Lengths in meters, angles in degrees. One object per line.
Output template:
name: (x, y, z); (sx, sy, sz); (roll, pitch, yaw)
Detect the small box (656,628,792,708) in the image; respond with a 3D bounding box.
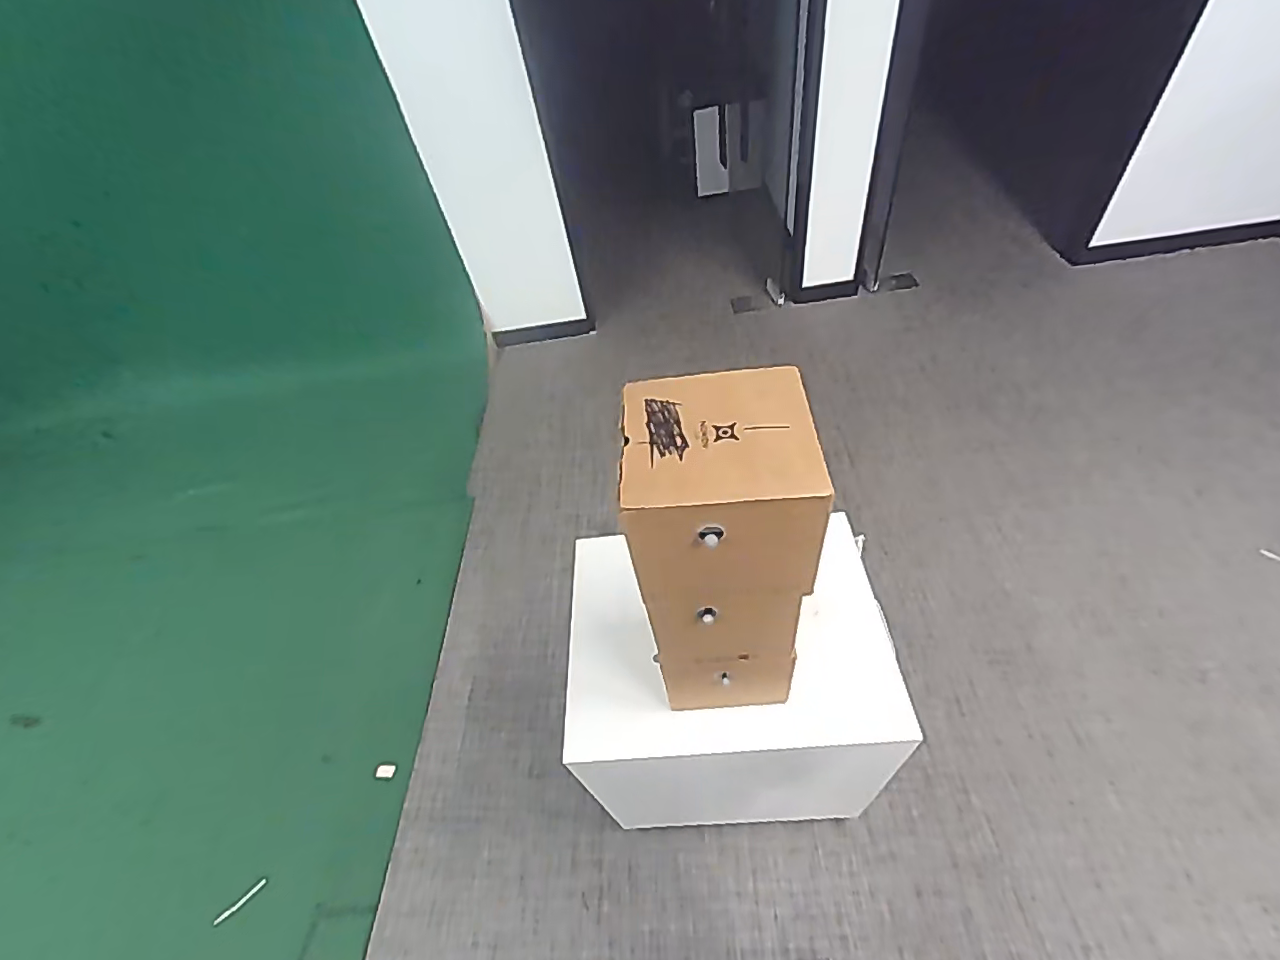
small box: (0.118, 0.227, 0.804); (0.179, 0.176, 0.168); (-6, 49, 4)

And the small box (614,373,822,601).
small box: (0.077, 0.014, 0.559); (0.179, 0.176, 0.168); (-4, 49, 6)

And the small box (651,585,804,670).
small box: (0.098, 0.119, 0.687); (0.168, 0.176, 0.179); (-7, 49, 3)
